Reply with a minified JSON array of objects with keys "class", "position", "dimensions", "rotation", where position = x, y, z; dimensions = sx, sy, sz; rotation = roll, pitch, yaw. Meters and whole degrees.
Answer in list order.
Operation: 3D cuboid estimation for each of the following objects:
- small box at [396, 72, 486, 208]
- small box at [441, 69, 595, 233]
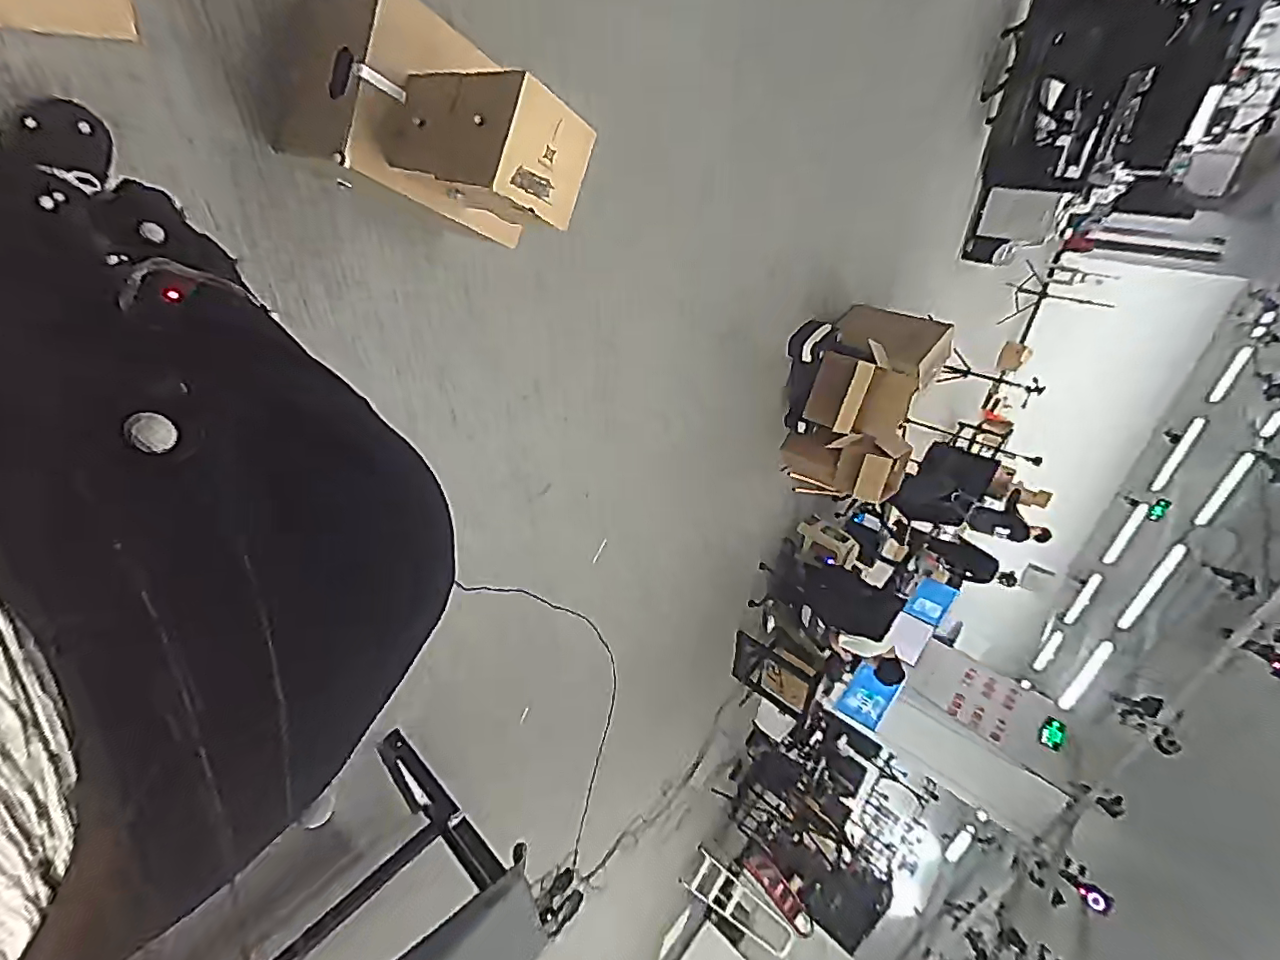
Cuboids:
[{"class":"small box","position":[-0.327,-0.619,1.010],"dimensions":[0.179,0.176,0.168],"rotation":[-3,114,-53]},{"class":"small box","position":[-0.211,-0.547,0.914],"dimensions":[0.168,0.176,0.179],"rotation":[6,107,-54]}]
